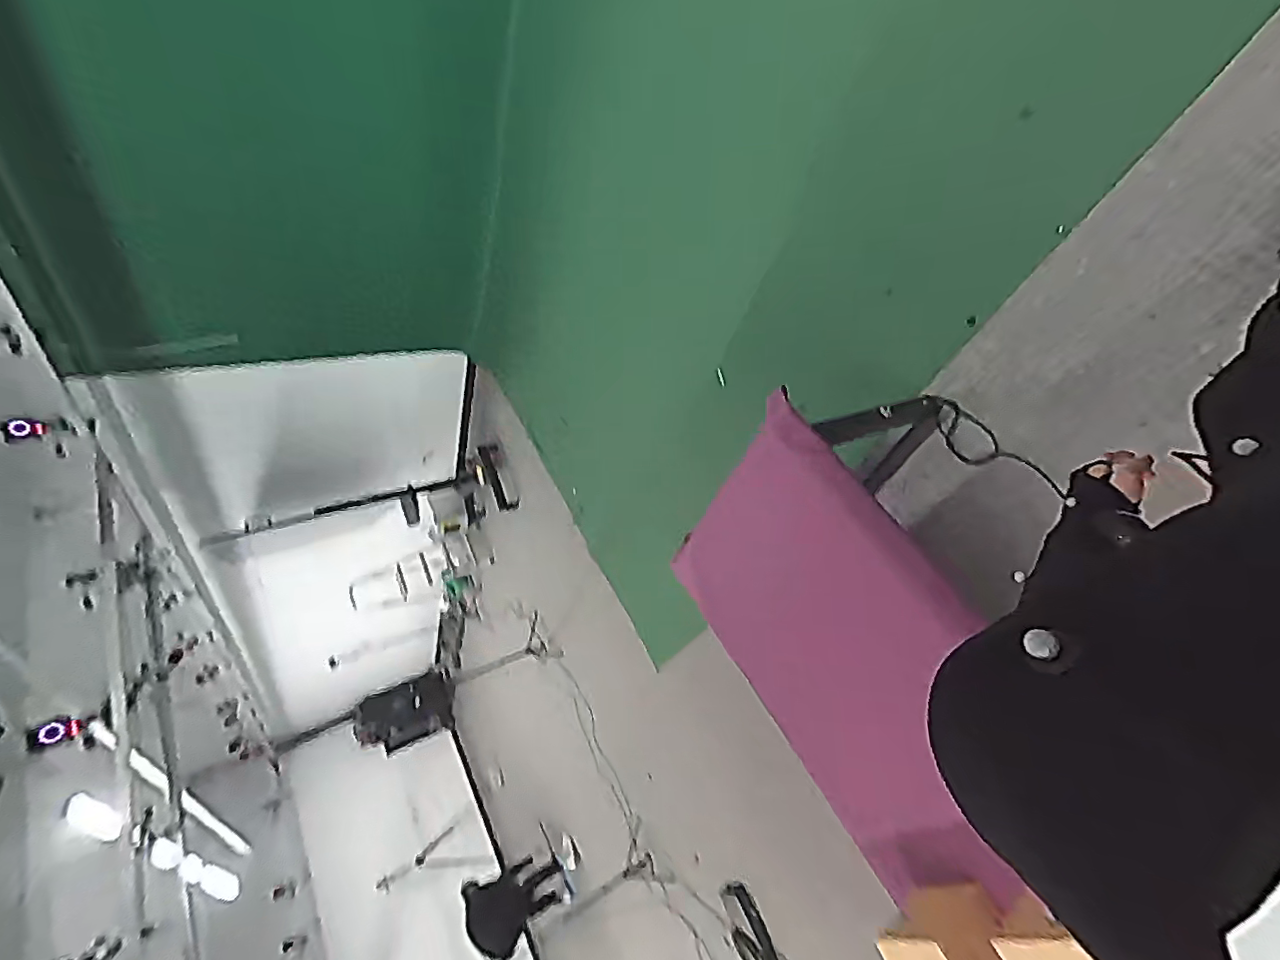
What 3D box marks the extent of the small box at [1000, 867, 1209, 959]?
[{"bbox_3d":[0.698,0.712,0.803,0.168,0.176,0.179,56,143,26],"label":"small box"}]
